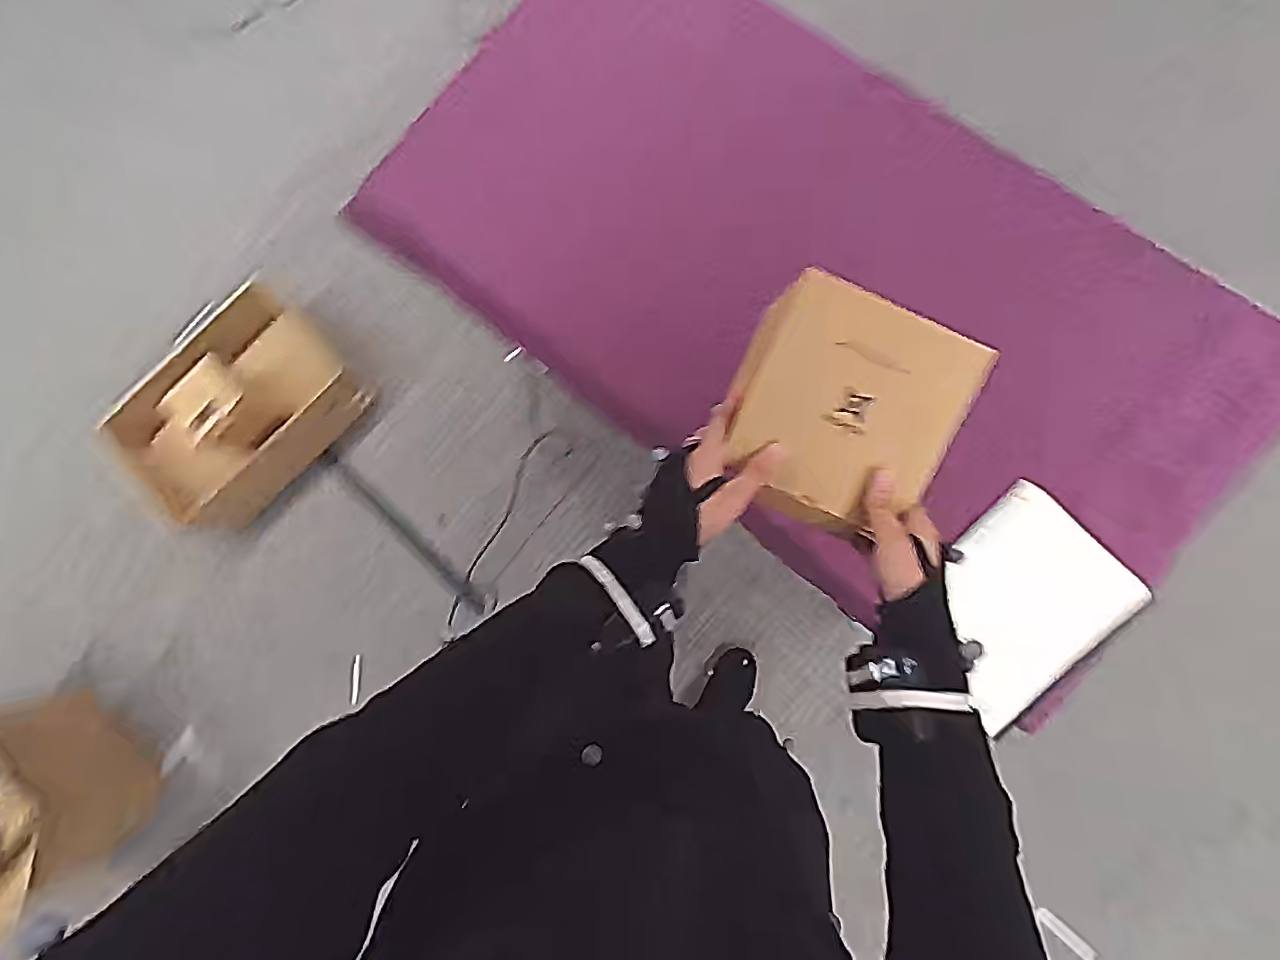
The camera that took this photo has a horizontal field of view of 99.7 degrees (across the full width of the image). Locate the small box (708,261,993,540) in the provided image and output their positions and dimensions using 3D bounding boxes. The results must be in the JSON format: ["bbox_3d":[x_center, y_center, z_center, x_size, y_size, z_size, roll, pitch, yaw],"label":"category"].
[{"bbox_3d":[0.173,-0.070,0.512,0.168,0.176,0.179,25,98,-1],"label":"small box"}]
